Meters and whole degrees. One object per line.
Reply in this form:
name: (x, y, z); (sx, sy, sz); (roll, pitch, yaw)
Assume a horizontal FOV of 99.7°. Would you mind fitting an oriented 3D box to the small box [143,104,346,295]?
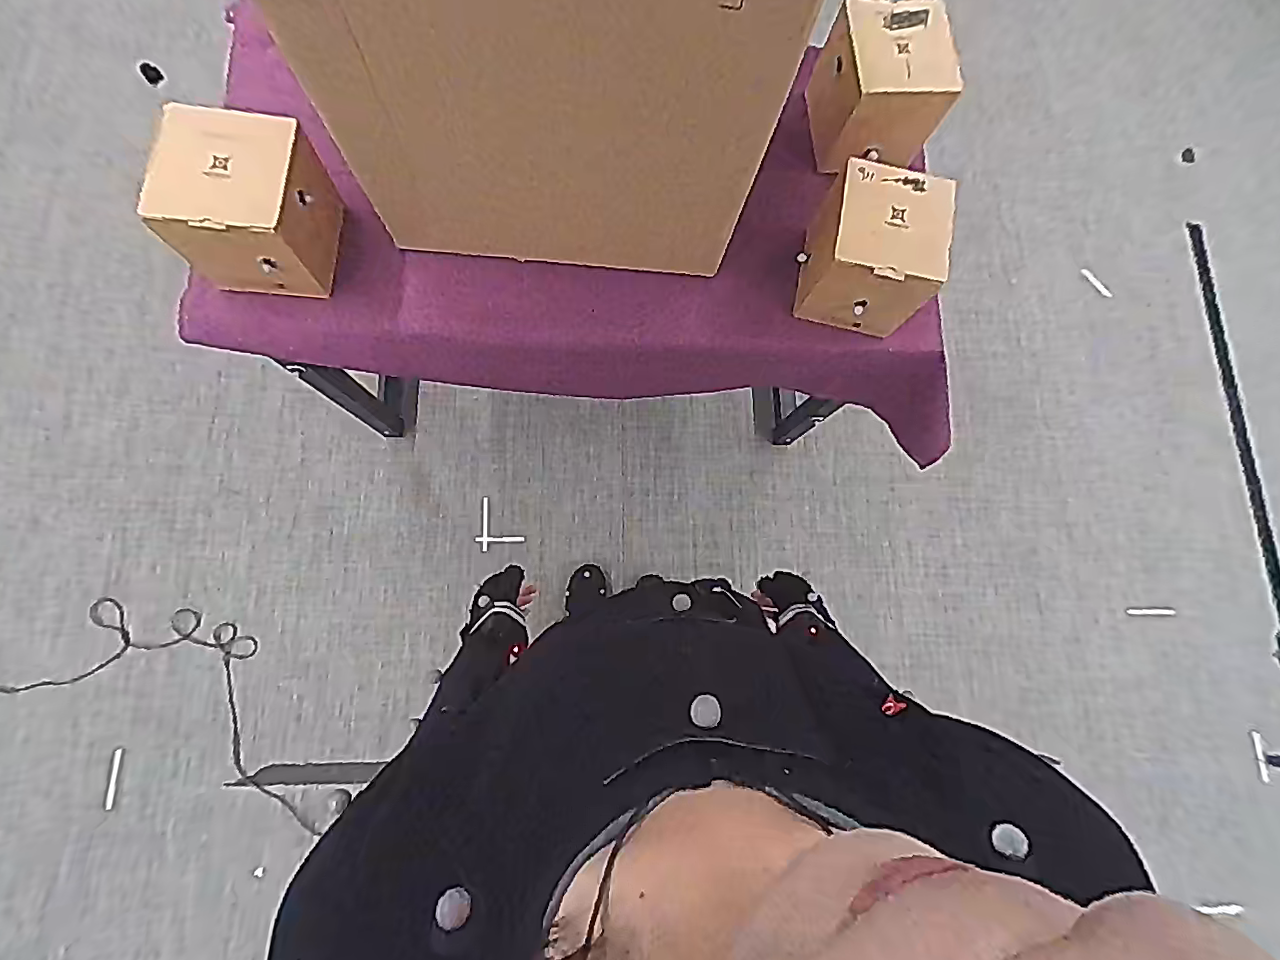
small box: (-0.549, -0.390, 0.780); (0.168, 0.176, 0.179); (3, 76, -7)
